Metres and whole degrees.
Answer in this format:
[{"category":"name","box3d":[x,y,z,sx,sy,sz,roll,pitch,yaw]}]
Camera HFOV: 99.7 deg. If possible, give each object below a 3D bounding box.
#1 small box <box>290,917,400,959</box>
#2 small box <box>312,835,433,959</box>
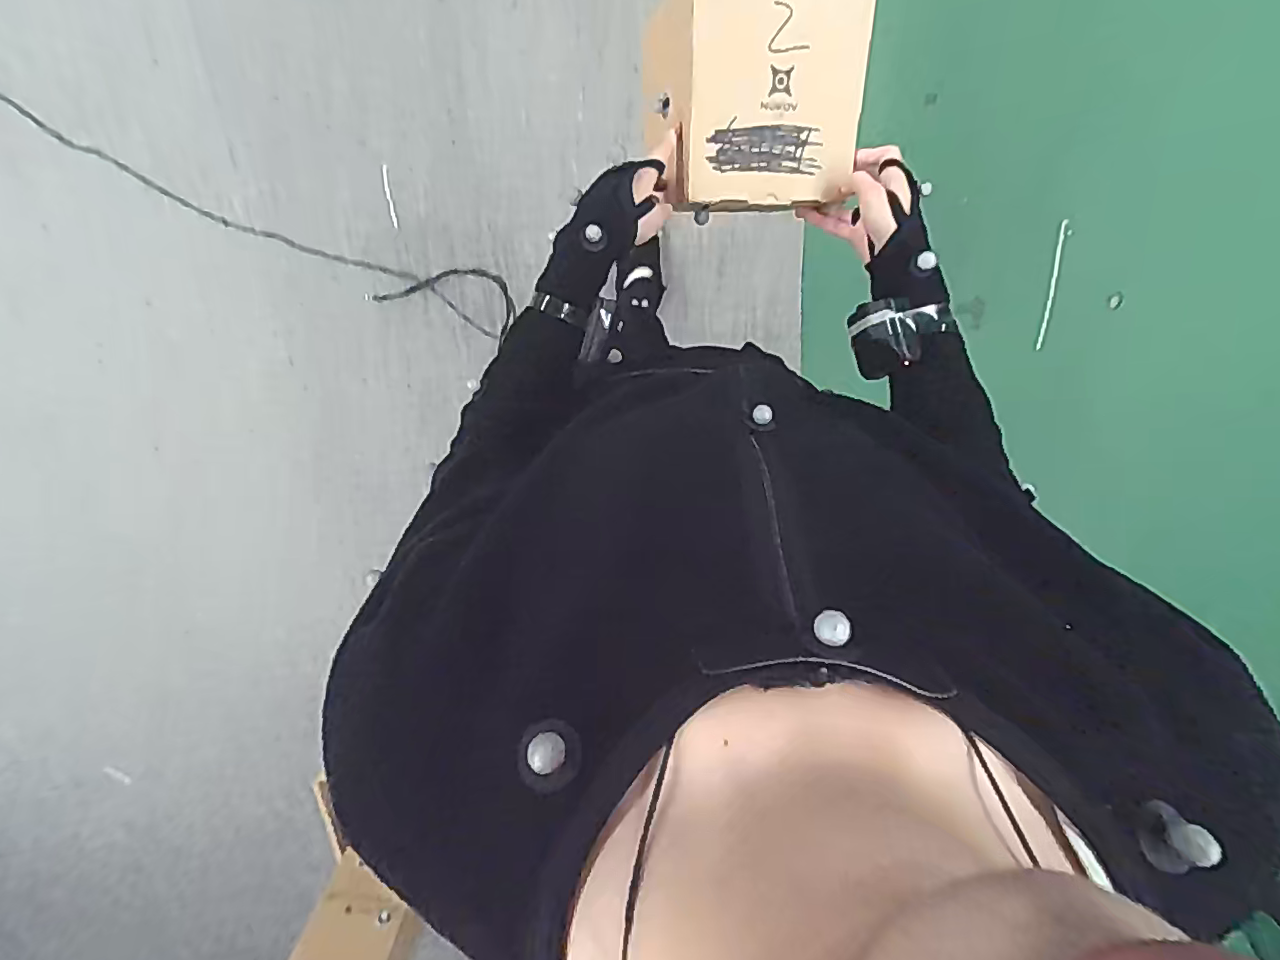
[{"category":"small box","box3d":[-0.537,0.913,0.950,0.168,0.176,0.179,6,109,-3]},{"category":"small box","box3d":[-0.536,0.864,1.106,0.168,0.176,0.179,3,108,-2]}]
